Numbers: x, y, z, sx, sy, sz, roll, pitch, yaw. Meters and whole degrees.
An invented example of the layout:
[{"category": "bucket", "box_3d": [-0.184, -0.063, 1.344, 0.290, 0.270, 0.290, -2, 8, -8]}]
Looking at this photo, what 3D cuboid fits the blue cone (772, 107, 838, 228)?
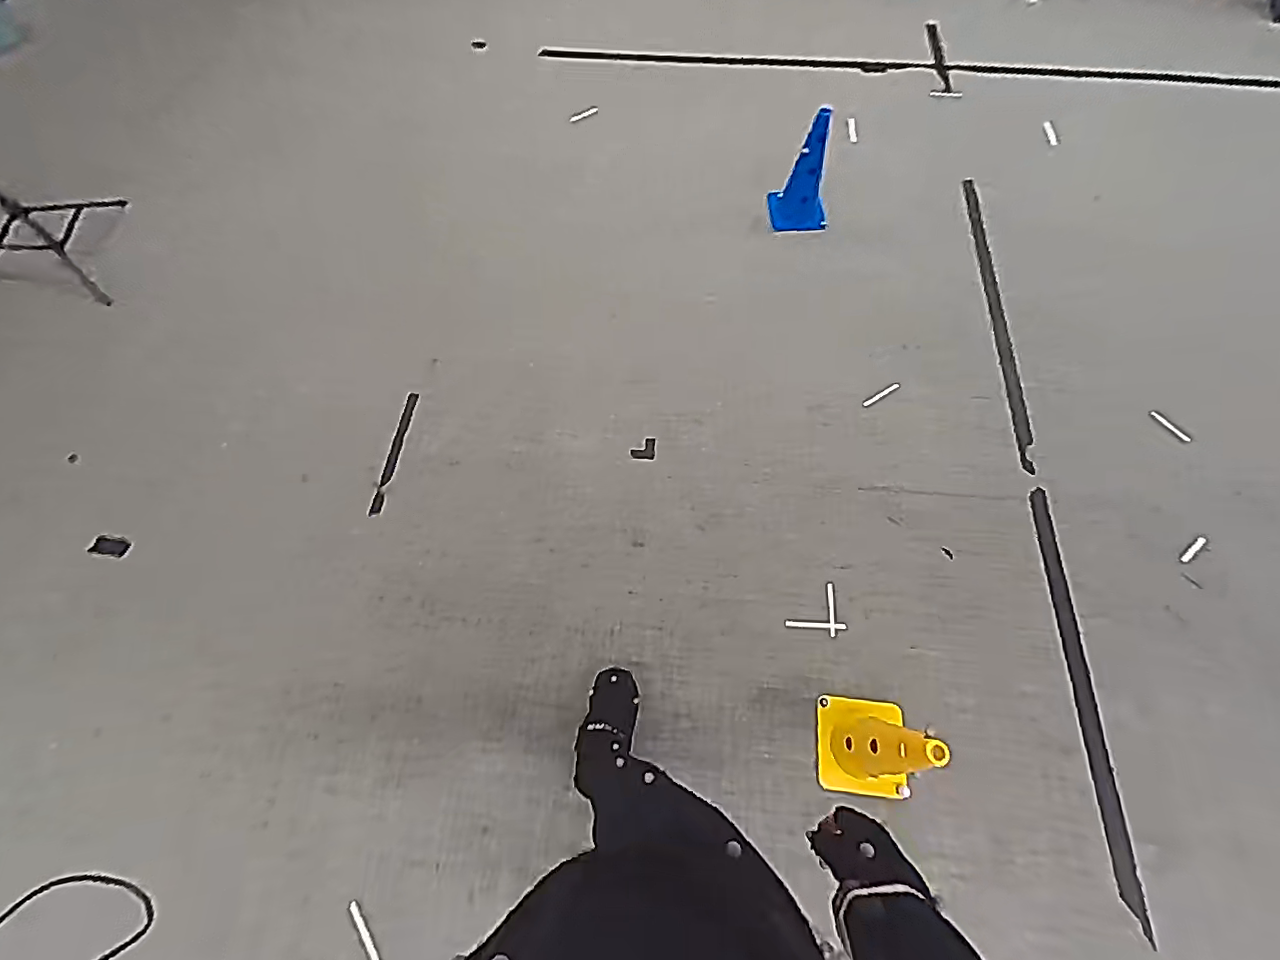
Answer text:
[{"category": "blue cone", "box_3d": [0.583, -1.061, 1.832, 0.192, 0.380, 0.193, 0, 65, 0]}]
